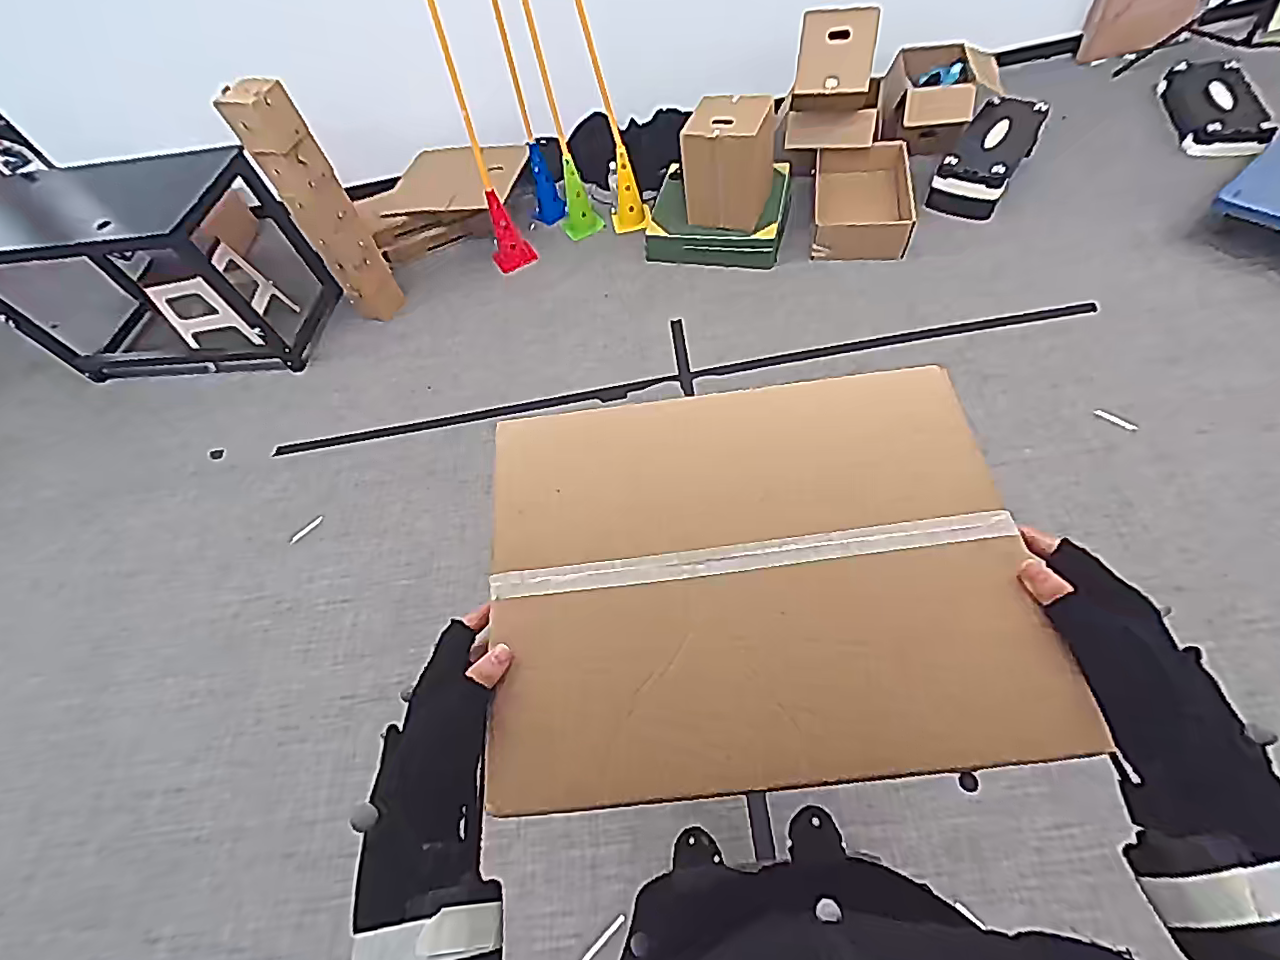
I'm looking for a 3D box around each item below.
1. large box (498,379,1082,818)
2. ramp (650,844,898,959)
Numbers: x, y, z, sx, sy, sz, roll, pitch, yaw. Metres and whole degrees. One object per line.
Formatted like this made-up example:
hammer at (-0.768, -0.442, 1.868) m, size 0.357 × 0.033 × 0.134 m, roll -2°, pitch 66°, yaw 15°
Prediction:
large box at (0.097, 0.133, 0.561) m, size 0.408 × 0.320 × 0.320 m, roll -7°, pitch 62°, yaw 1°
ramp at (0.319, 1.284, 0.998) m, size 0.509 × 0.206 × 0.991 m, roll -9°, pitch 58°, yaw 2°
